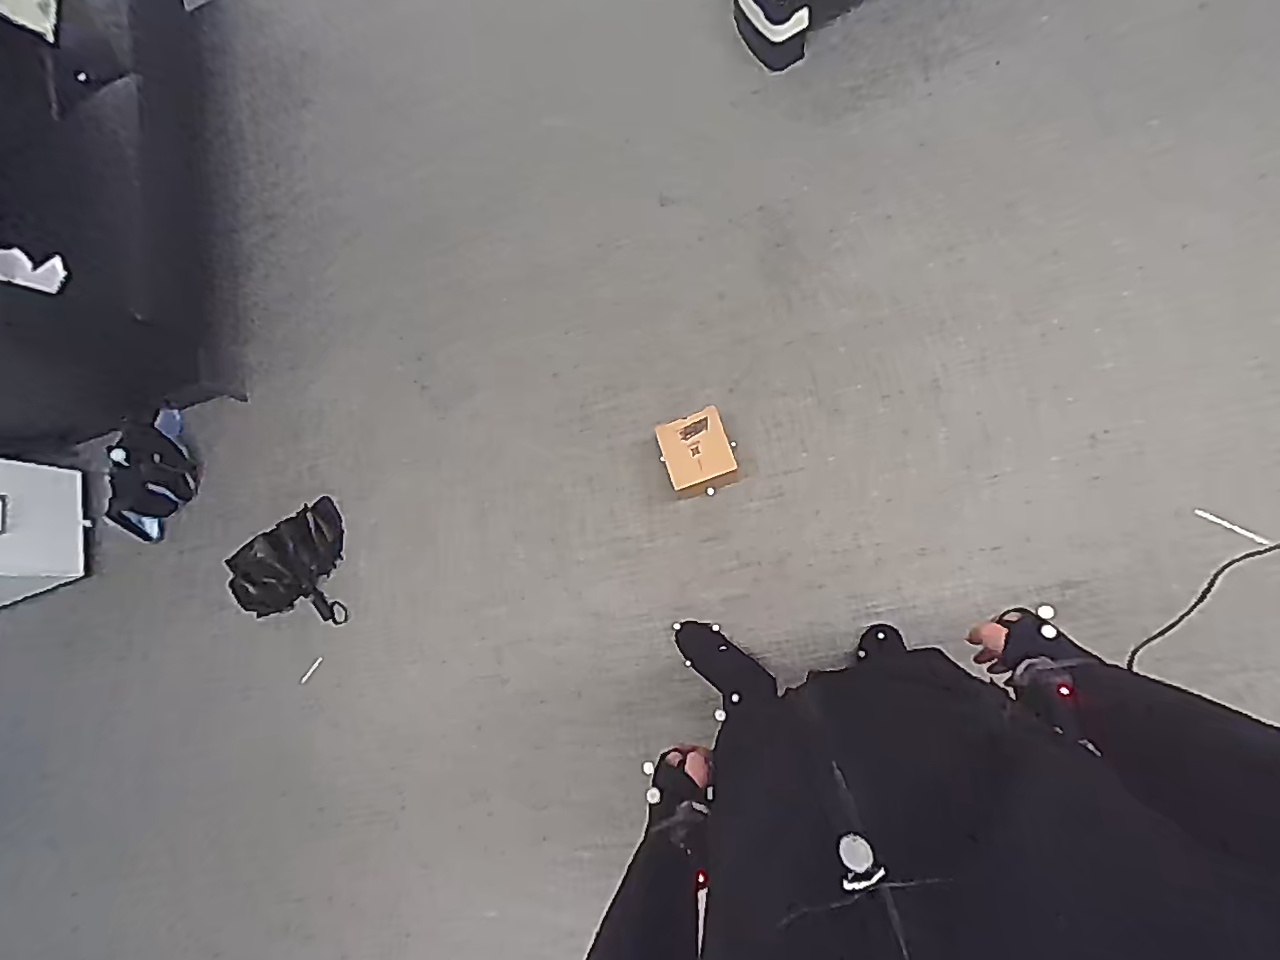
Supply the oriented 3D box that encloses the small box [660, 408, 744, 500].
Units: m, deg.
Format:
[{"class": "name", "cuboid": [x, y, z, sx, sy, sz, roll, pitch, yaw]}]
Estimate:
[{"class": "small box", "cuboid": [0.167, -0.060, 1.417, 0.168, 0.176, 0.179, -20, 76, 11]}]
